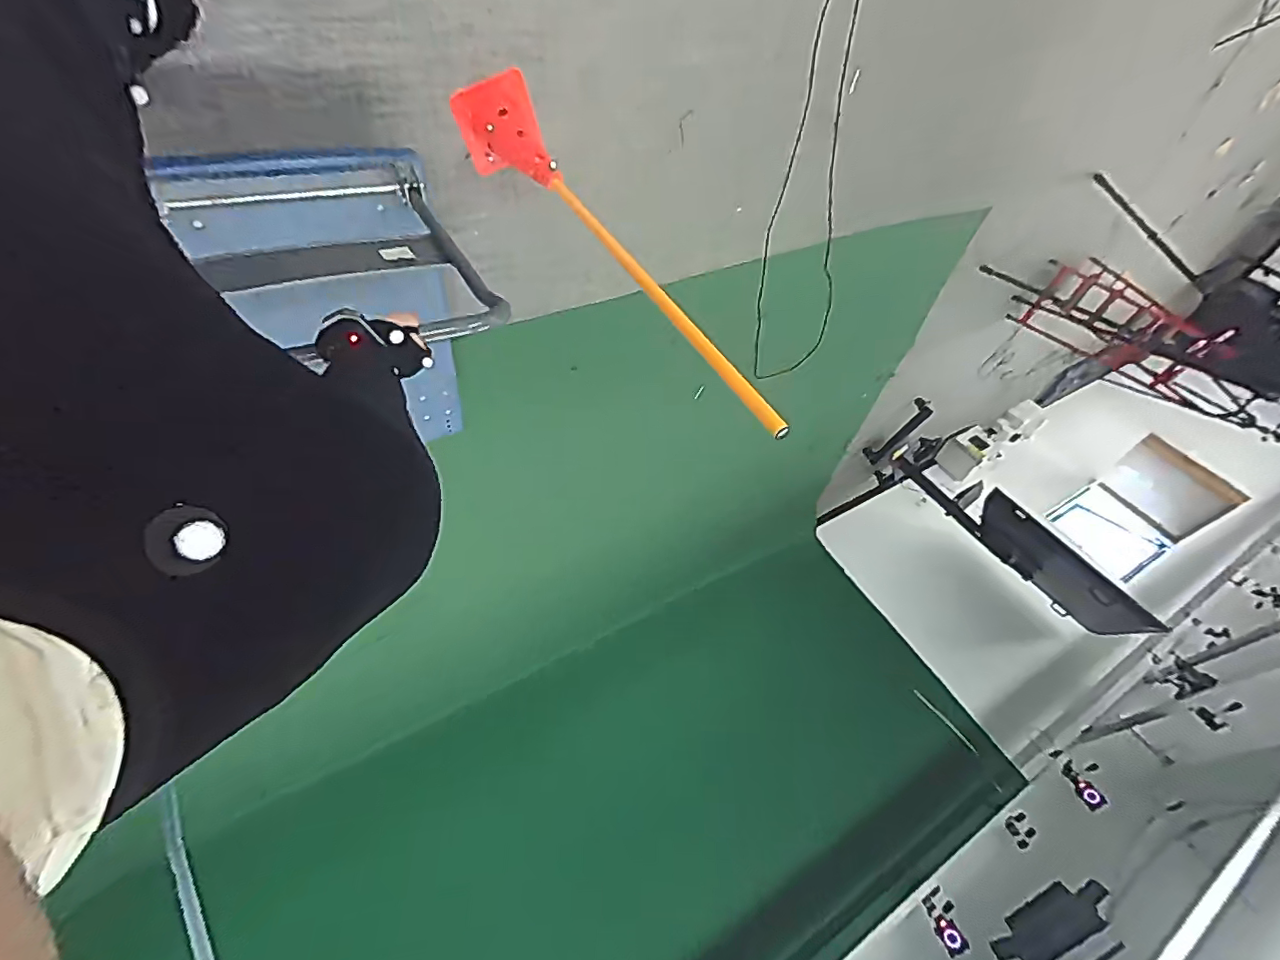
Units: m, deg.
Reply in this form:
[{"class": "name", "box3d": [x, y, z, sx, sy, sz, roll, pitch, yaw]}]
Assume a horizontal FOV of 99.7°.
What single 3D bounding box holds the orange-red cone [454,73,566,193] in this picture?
[{"class": "orange-red cone", "box3d": [-0.274, -0.795, 1.311, 0.199, 0.360, 0.198, -31, 151, -10]}]
